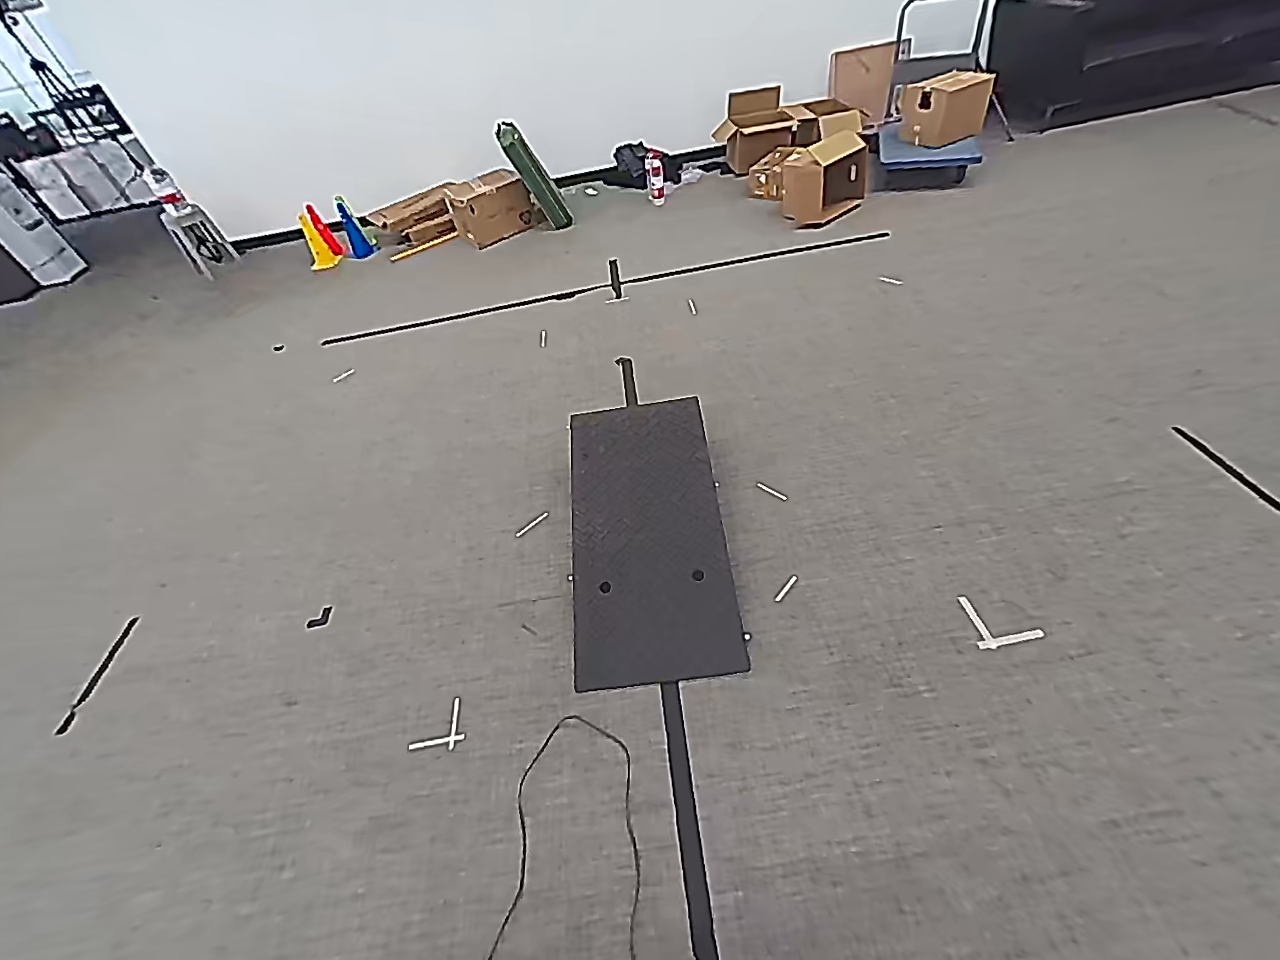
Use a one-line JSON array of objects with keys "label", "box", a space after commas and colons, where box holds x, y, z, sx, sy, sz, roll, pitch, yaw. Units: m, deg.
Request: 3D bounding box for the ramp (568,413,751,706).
[{"label": "ramp", "box": [0.019, 0.189, 1.778, 0.509, 0.206, 0.991, -10, 45, 1]}]
